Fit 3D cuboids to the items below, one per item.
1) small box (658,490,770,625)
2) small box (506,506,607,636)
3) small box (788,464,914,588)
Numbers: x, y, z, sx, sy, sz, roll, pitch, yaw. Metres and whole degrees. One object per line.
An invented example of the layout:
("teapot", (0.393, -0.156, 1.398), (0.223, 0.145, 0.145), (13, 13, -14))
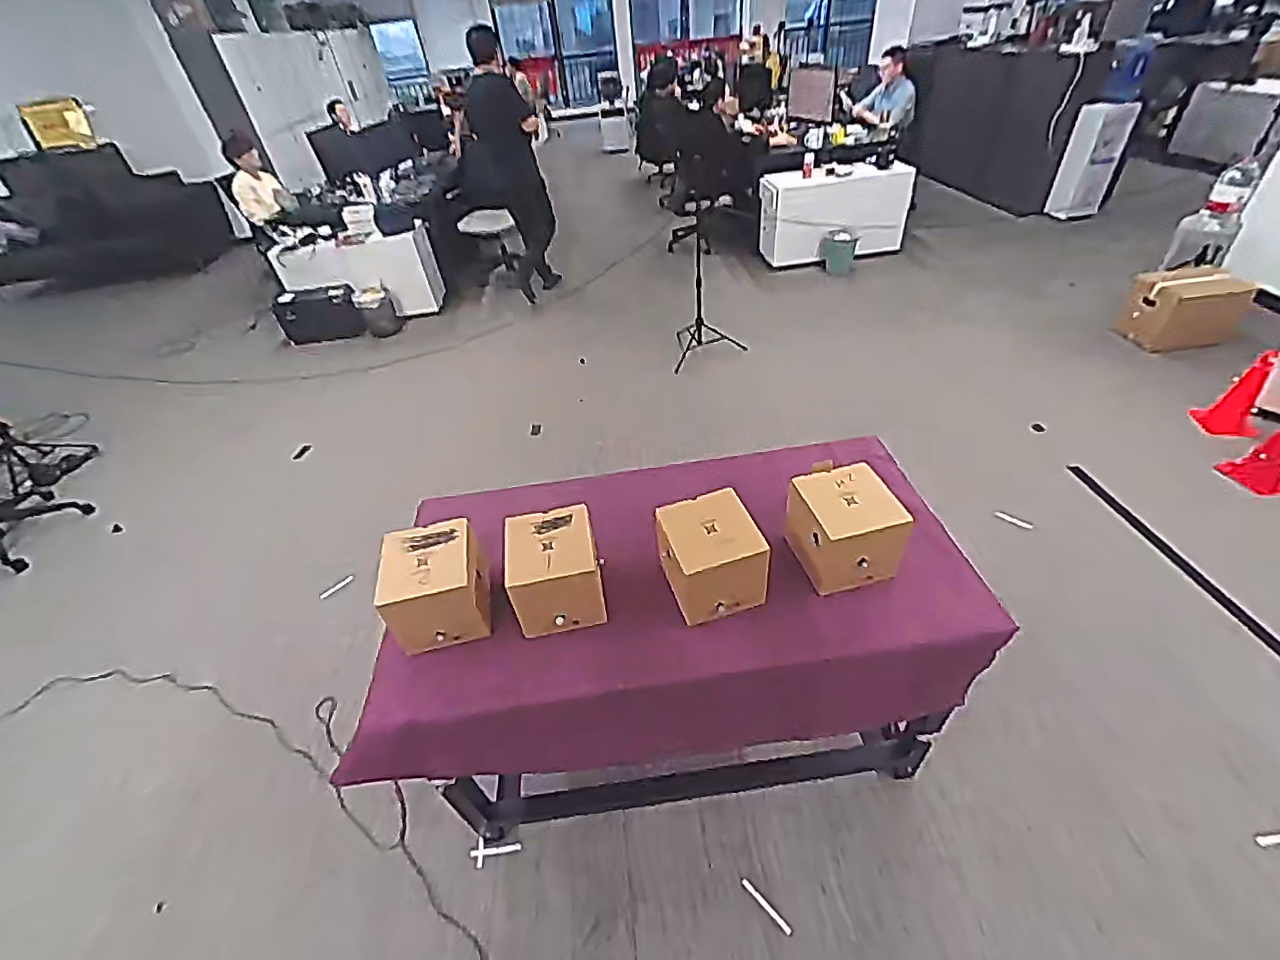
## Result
("small box", (0.141, 0.152, 1.066), (0.168, 0.176, 0.179), (-15, 41, -8))
("small box", (-0.164, 0.181, 1.075), (0.168, 0.176, 0.179), (-11, 42, -4))
("small box", (0.411, 0.098, 1.085), (0.168, 0.176, 0.179), (-12, 41, -6))
